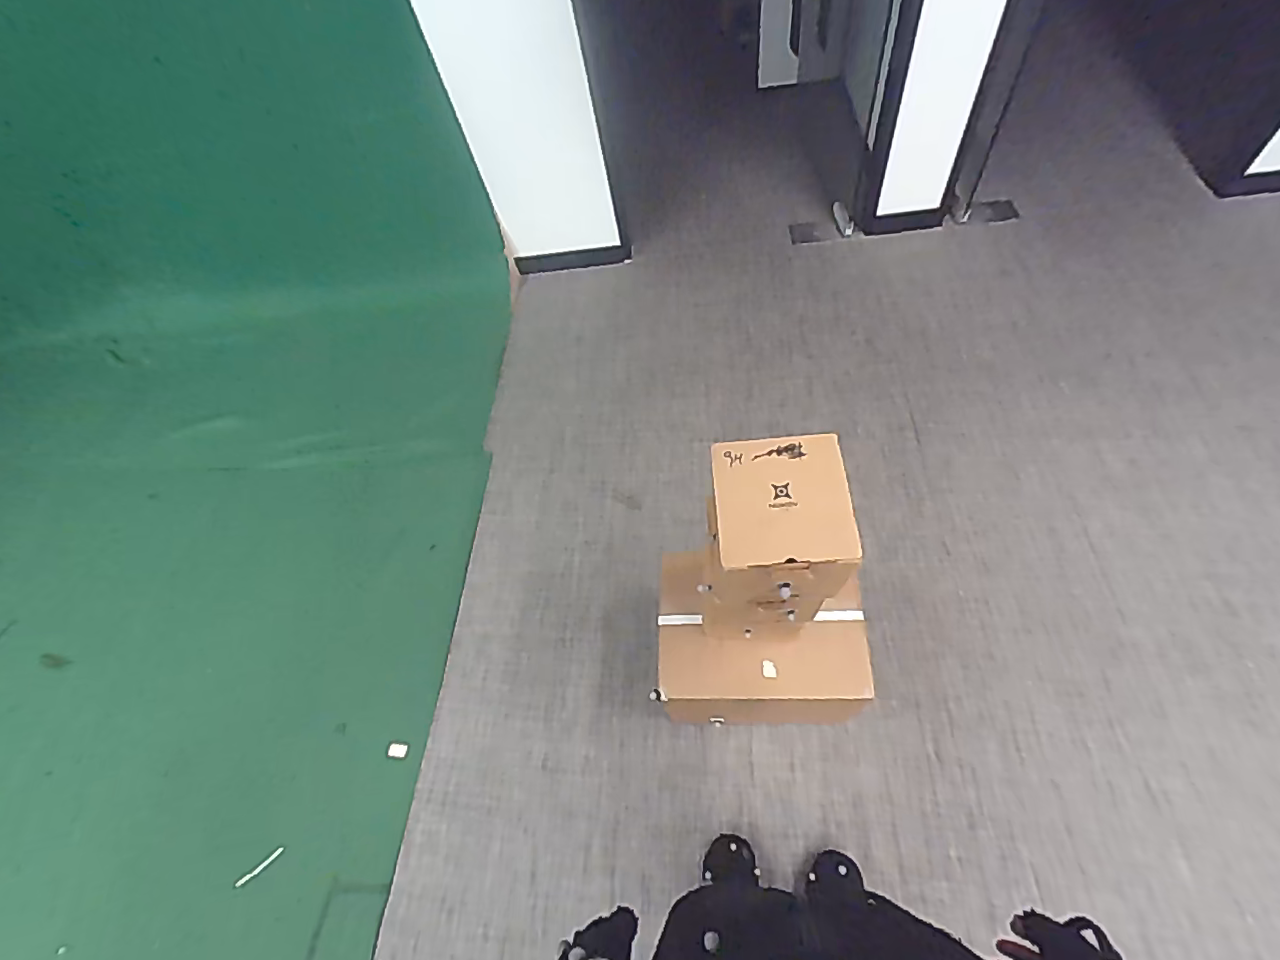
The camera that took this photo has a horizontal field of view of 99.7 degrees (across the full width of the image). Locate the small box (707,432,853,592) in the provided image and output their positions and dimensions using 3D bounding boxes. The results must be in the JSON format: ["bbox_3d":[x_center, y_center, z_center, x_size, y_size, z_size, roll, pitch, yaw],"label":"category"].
[{"bbox_3d":[0.184,0.054,0.753,0.168,0.176,0.179,-5,65,7],"label":"small box"}]

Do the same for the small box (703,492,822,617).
[{"bbox_3d":[0.196,0.126,0.899,0.168,0.176,0.179,-5,63,7],"label":"small box"}]

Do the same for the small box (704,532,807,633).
[{"bbox_3d":[0.215,0.198,1.044,0.179,0.176,0.168,-3,65,8],"label":"small box"}]
